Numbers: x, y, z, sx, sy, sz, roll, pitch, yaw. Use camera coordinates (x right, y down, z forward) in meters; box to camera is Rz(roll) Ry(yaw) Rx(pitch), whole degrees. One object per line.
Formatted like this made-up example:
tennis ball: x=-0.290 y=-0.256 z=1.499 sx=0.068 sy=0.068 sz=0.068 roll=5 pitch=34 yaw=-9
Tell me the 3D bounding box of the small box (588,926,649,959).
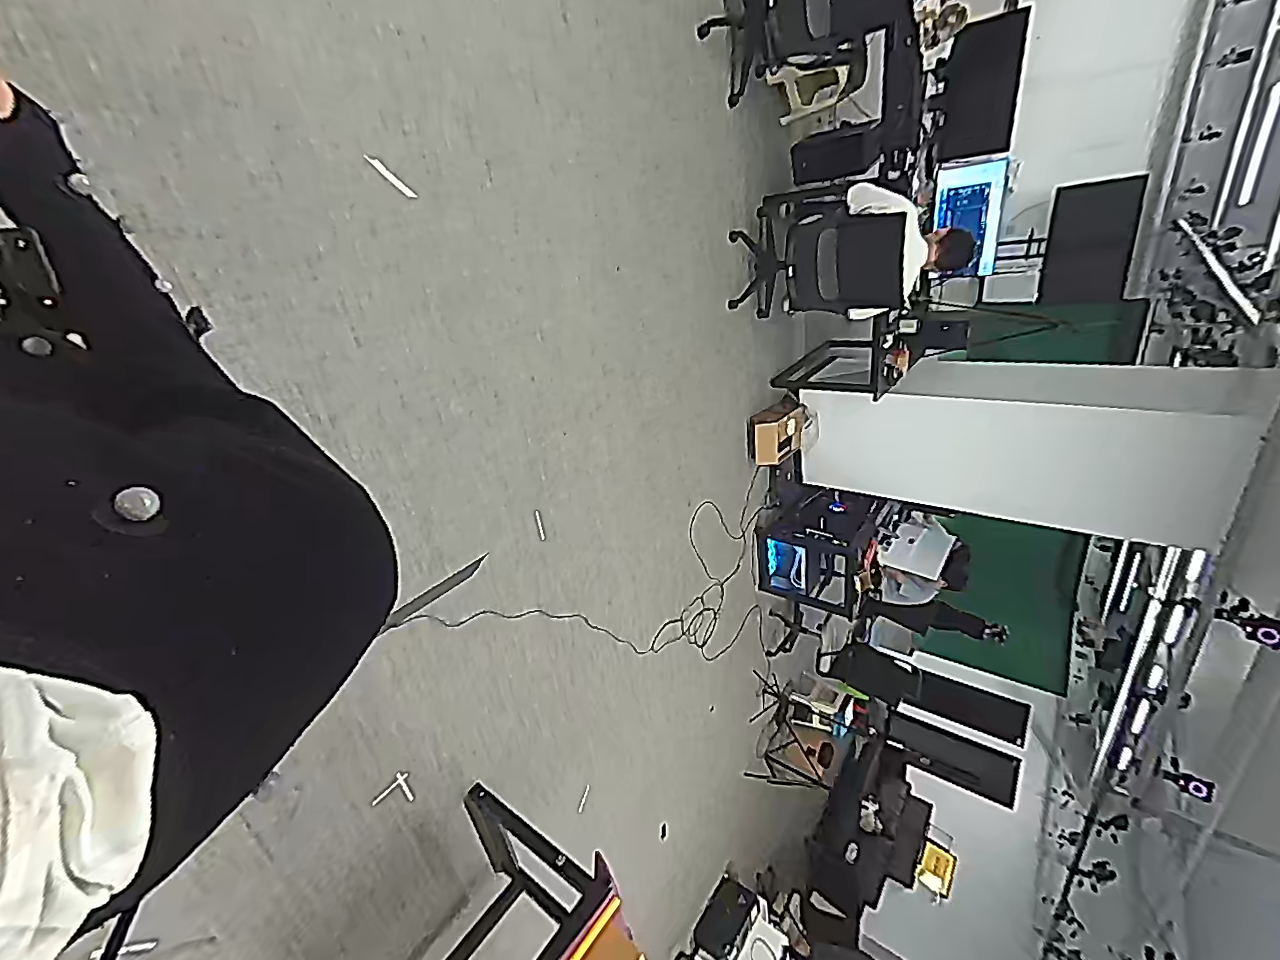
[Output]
small box: x=-0.075 y=1.595 z=1.720 sx=0.179 sy=0.176 sz=0.168 roll=-35 pitch=126 yaw=-42
